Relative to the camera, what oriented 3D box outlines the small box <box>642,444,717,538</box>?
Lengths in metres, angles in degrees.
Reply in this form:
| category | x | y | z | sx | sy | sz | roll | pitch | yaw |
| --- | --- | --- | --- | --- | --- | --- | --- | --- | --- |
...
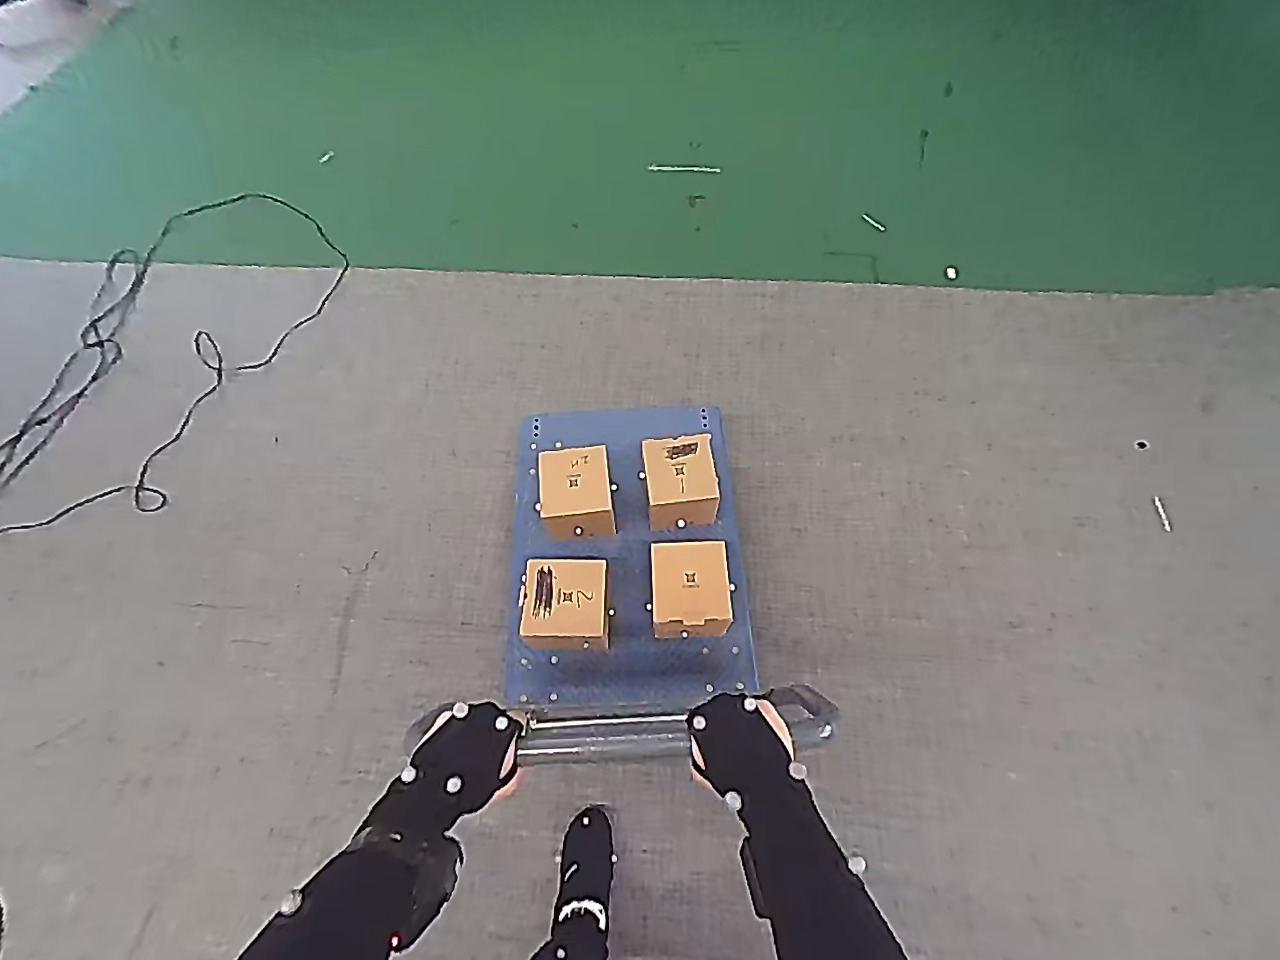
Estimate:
| category | x | y | z | sx | sy | sz | roll | pitch | yaw |
| --- | --- | --- | --- | --- | --- | --- | --- | --- | --- |
| small box | 0.093 | 0.031 | 1.371 | 0.168 | 0.176 | 0.179 | -7 | 64 | -1 |

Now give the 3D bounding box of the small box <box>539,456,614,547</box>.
| category | x | y | z | sx | sy | sz | roll | pitch | yaw |
| --- | --- | --- | --- | --- | --- | --- | --- | --- | --- |
| small box | -0.158 | 0.061 | 1.362 | 0.168 | 0.176 | 0.179 | -6 | 62 | -3 |

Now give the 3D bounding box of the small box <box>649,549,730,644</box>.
| category | x | y | z | sx | sy | sz | roll | pitch | yaw |
| --- | --- | --- | --- | --- | --- | --- | --- | --- | --- |
| small box | 0.107 | 0.272 | 1.248 | 0.168 | 0.176 | 0.179 | -2 | 63 | 0 |
